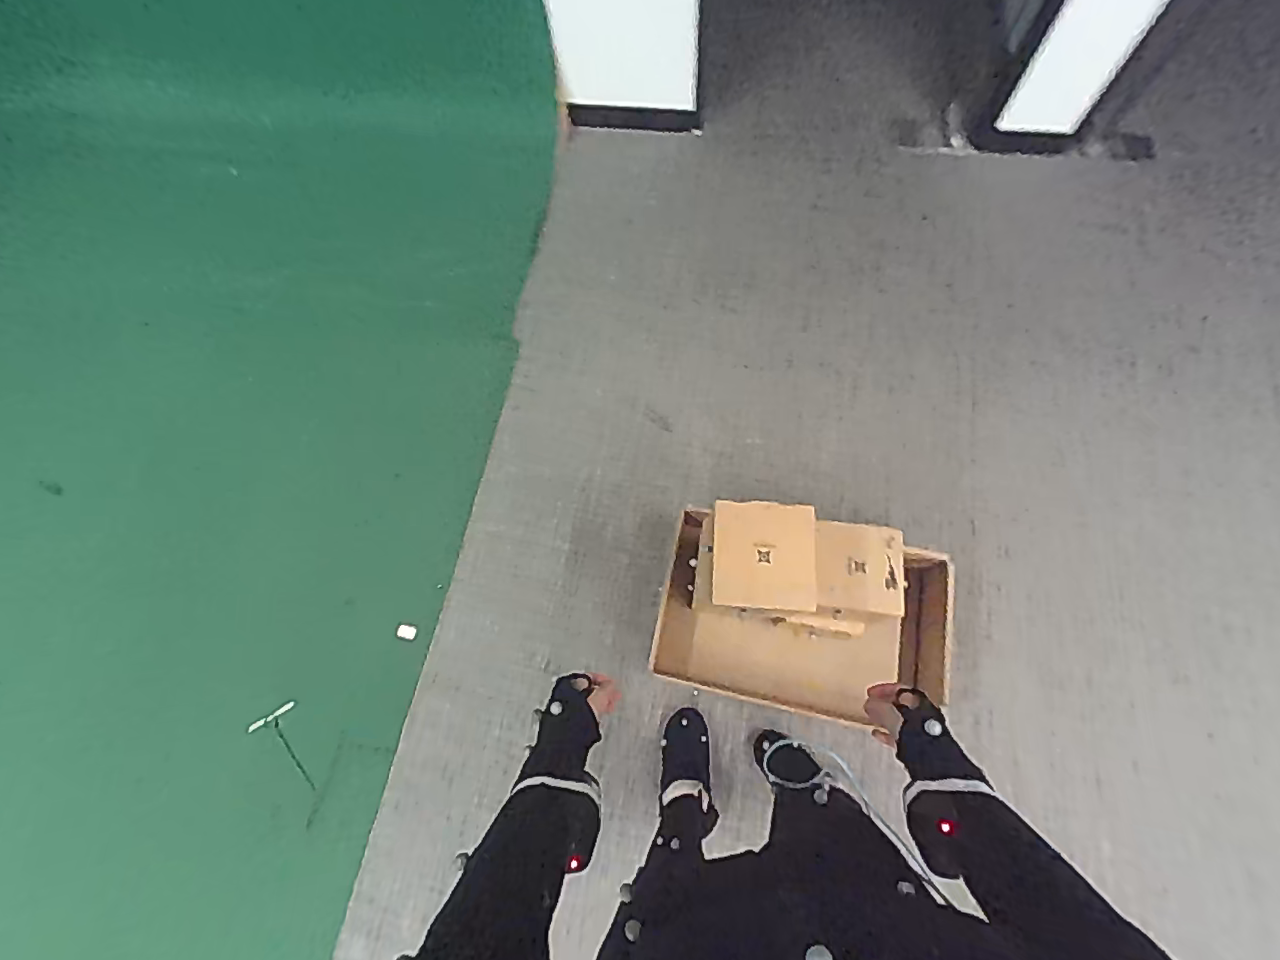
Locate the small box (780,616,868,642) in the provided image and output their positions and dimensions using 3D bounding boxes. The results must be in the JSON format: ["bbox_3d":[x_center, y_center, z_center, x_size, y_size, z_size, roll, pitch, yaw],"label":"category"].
[{"bbox_3d":[0.419,0.263,1.235,0.168,0.176,0.179,10,73,11],"label":"small box"}]

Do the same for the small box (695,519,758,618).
[{"bbox_3d":[0.210,0.187,1.105,0.179,0.176,0.168,7,72,7],"label":"small box"}]

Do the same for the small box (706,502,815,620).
[{"bbox_3d":[0.205,0.148,0.947,0.168,0.176,0.179,3,72,5],"label":"small box"}]

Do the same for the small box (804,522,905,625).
[{"bbox_3d":[0.414,0.193,1.085,0.179,0.176,0.168,6,71,9],"label":"small box"}]
